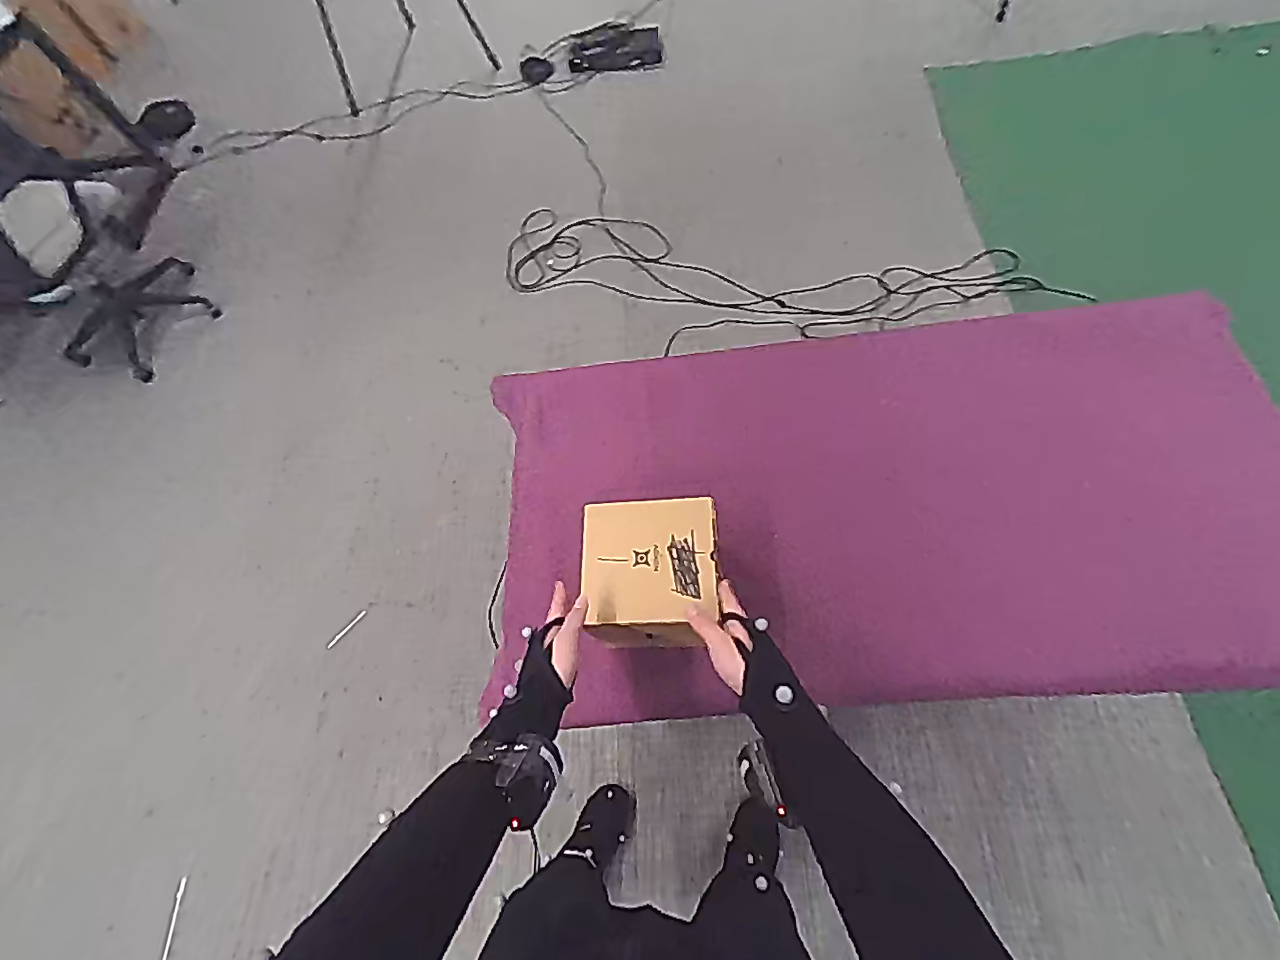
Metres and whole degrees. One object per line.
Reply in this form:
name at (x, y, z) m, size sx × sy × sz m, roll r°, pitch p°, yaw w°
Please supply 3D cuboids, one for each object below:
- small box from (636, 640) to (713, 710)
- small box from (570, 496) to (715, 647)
small box at (0.091, 0.494, 1.388) m, size 0.179 × 0.176 × 0.168 m, roll -6°, pitch 64°, yaw 5°
small box at (0.014, 0.134, 0.754) m, size 0.179 × 0.176 × 0.168 m, roll -4°, pitch 63°, yaw 9°
